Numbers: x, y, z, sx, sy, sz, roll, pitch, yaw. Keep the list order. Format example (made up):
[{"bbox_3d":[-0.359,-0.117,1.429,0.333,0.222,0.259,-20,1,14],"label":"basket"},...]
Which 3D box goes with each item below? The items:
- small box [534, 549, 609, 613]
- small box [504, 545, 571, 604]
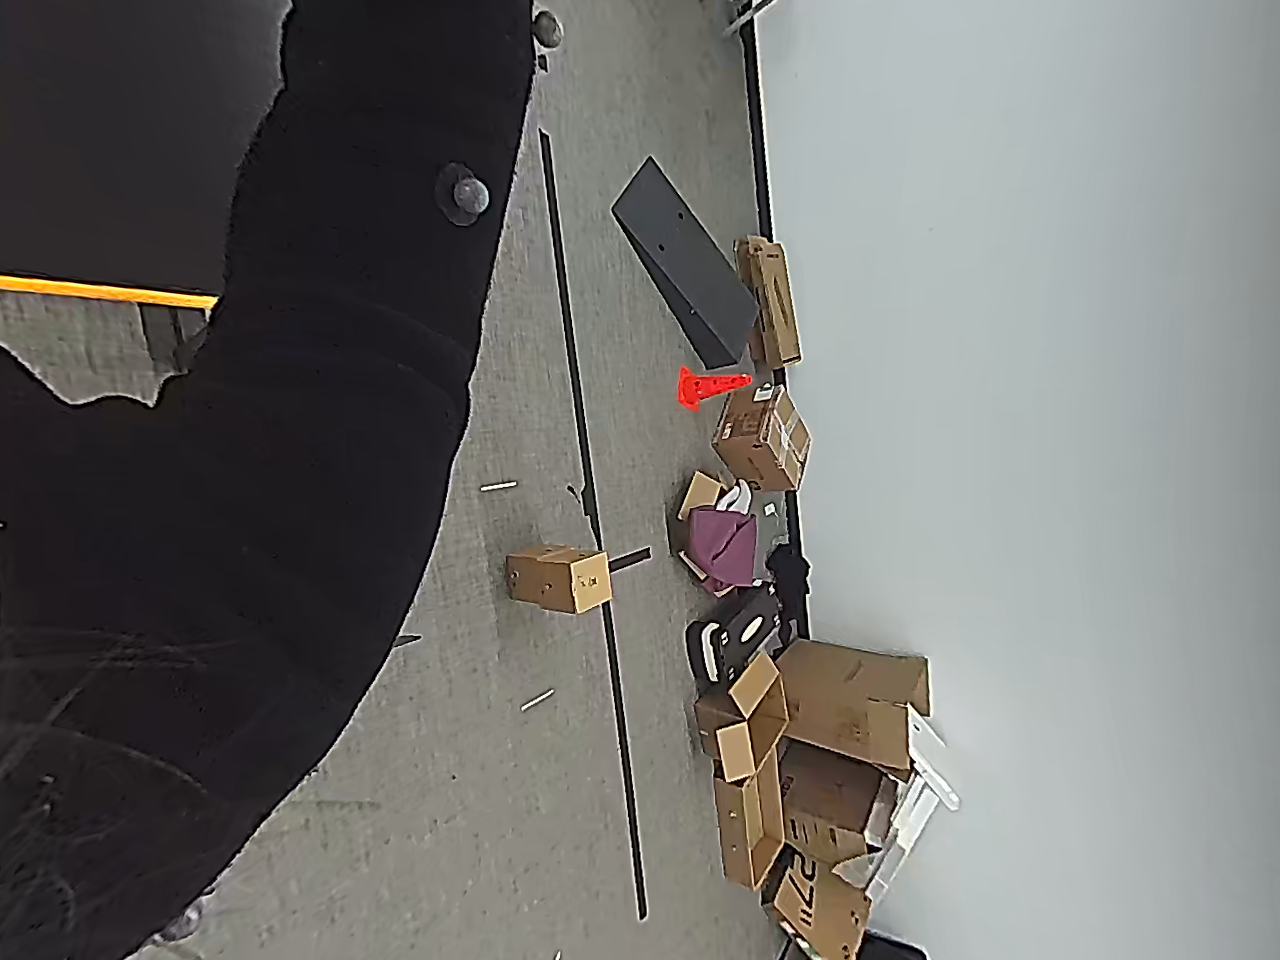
[{"bbox_3d":[-0.229,0.330,1.805,0.179,0.176,0.168,-11,96,-51],"label":"small box"},{"bbox_3d":[-0.354,0.327,1.913,0.179,0.176,0.168,-12,97,-50],"label":"small box"}]
